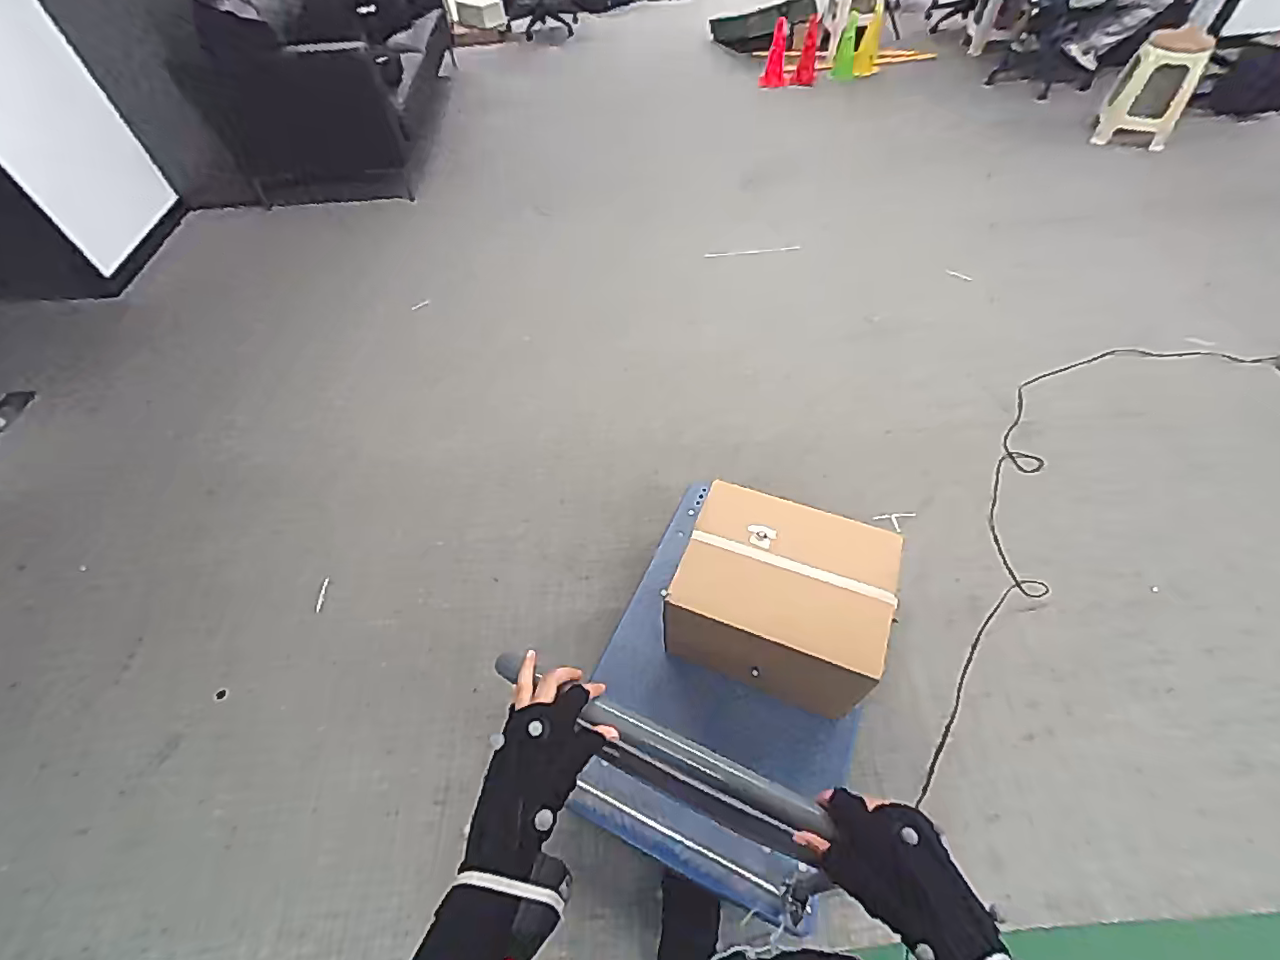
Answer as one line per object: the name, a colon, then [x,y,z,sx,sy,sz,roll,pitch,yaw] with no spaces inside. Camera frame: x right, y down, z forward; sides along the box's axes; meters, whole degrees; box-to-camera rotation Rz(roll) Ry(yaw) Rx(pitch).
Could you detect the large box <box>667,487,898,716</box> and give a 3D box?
large box: [0.301,0.268,1.192,0.408,0.320,0.320,16,55,16]
